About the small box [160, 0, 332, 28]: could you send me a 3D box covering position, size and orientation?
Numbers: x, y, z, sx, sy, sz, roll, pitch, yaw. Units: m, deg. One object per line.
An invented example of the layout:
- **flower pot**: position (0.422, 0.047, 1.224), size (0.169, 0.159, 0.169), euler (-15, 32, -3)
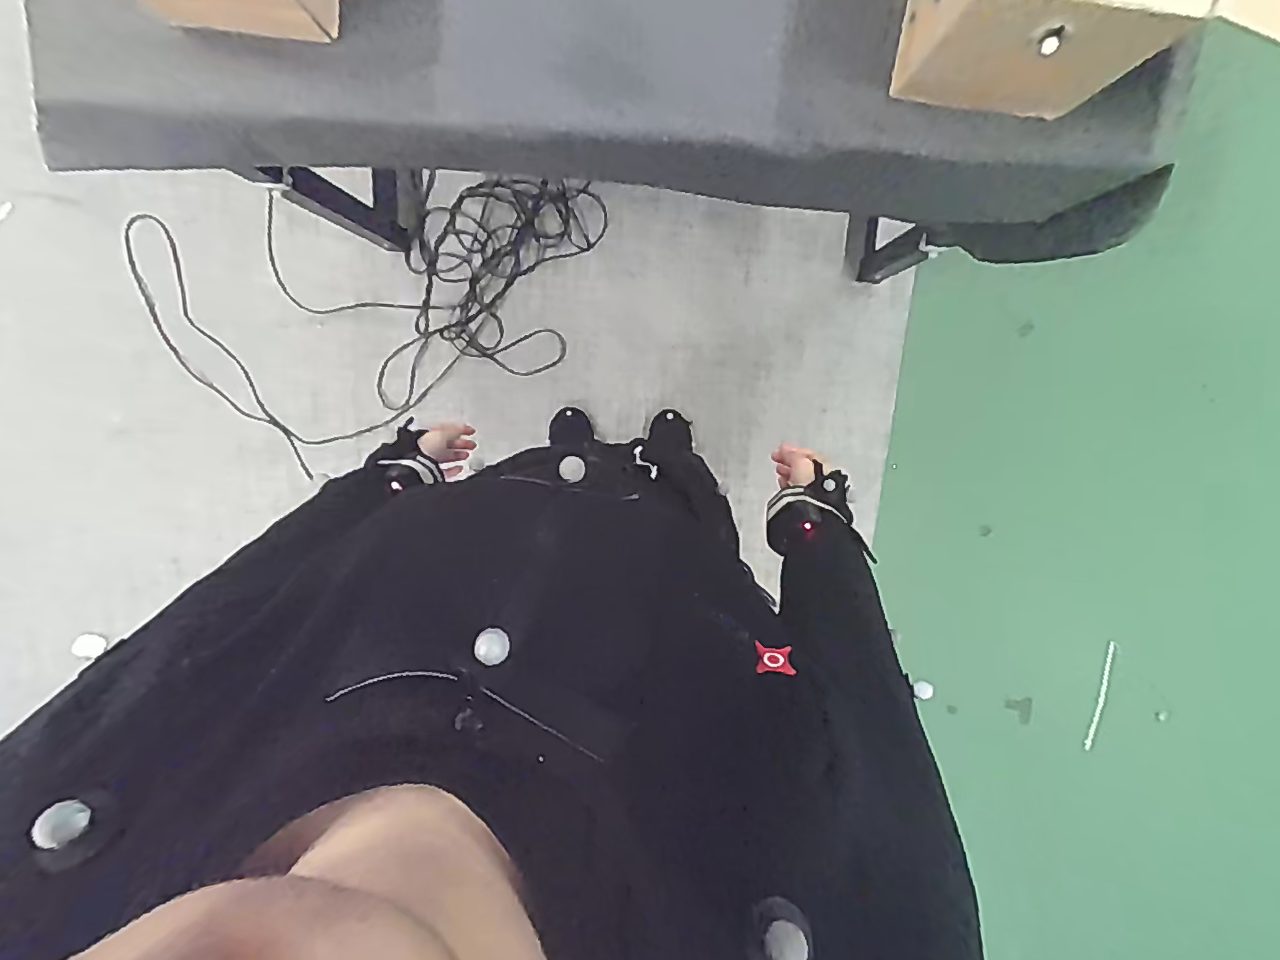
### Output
- **small box**: position (-0.394, -0.536, 0.463), size (0.179, 0.176, 0.168), euler (7, 99, -1)
